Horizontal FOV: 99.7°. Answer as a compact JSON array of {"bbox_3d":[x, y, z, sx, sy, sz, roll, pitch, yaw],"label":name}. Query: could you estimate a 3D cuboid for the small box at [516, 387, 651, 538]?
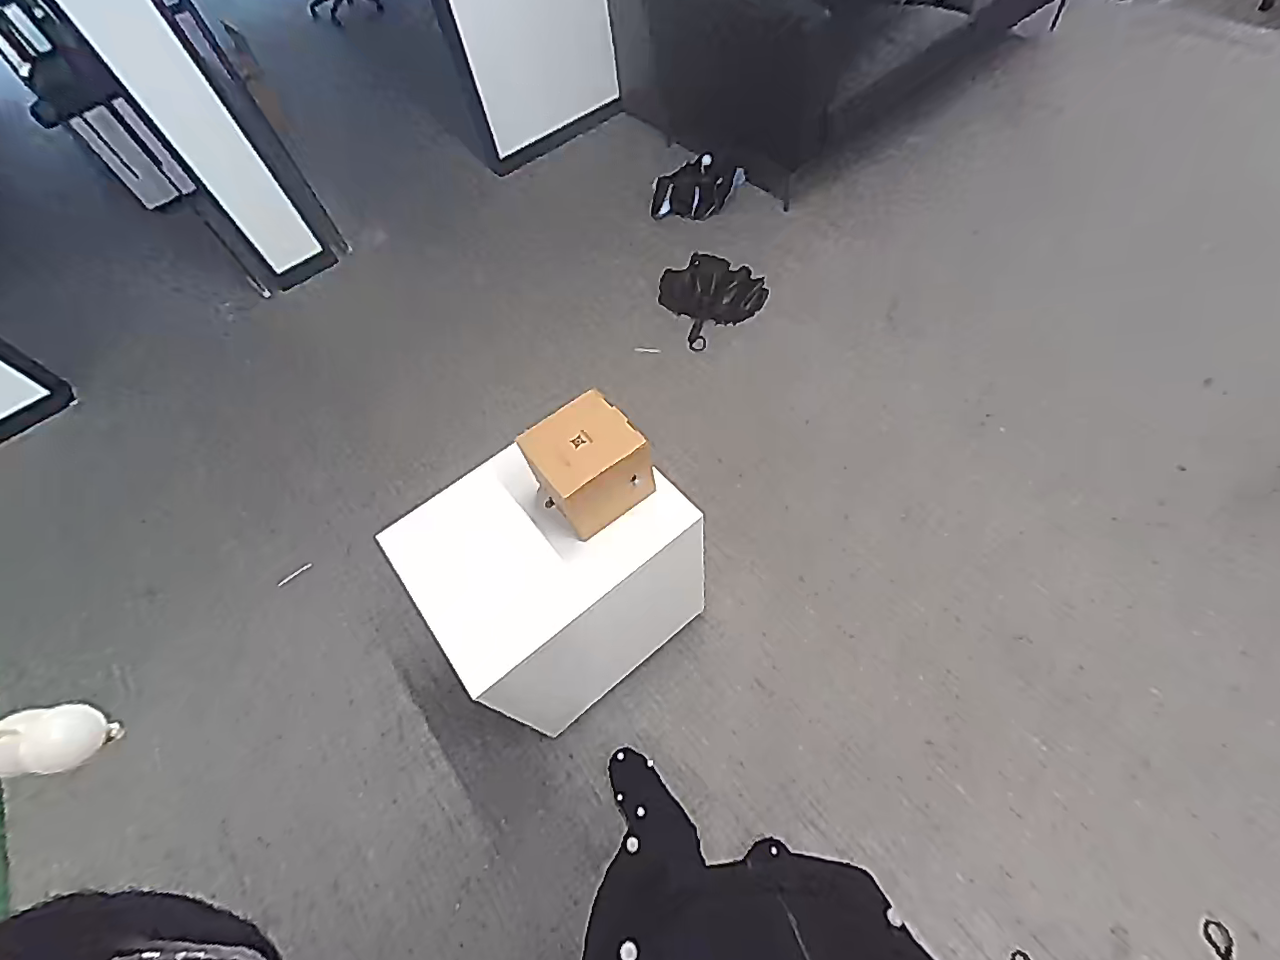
[{"bbox_3d":[-0.093,-0.028,0.990,0.179,0.176,0.168,-36,60,-13],"label":"small box"}]
